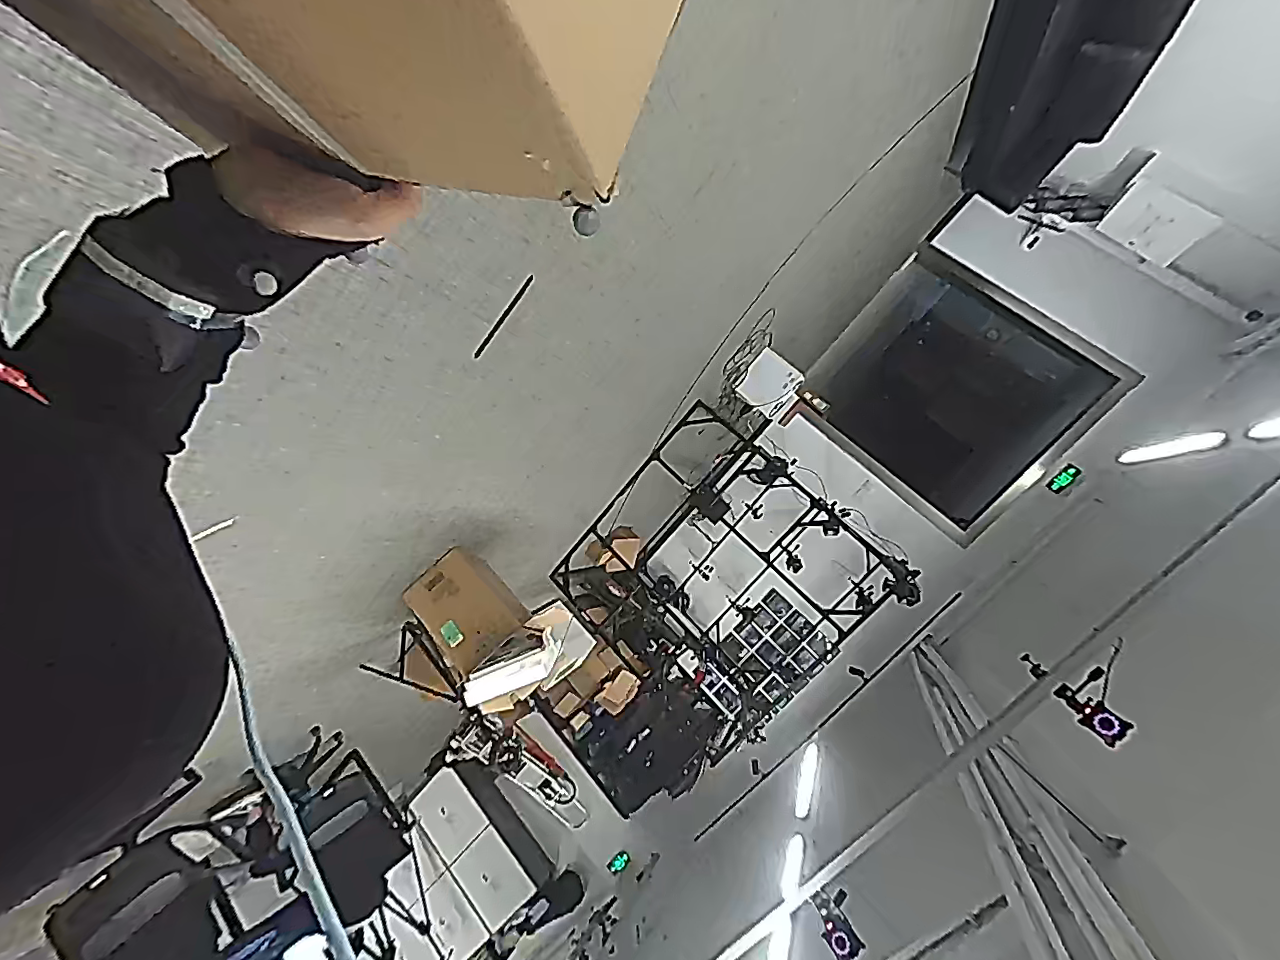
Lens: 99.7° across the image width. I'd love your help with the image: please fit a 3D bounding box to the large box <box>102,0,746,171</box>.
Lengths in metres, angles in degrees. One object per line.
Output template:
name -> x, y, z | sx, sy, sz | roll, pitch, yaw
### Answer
large box -> -0.125, -0.361, 0.125 | 0.320, 0.320, 0.408 | -69, 159, -4
